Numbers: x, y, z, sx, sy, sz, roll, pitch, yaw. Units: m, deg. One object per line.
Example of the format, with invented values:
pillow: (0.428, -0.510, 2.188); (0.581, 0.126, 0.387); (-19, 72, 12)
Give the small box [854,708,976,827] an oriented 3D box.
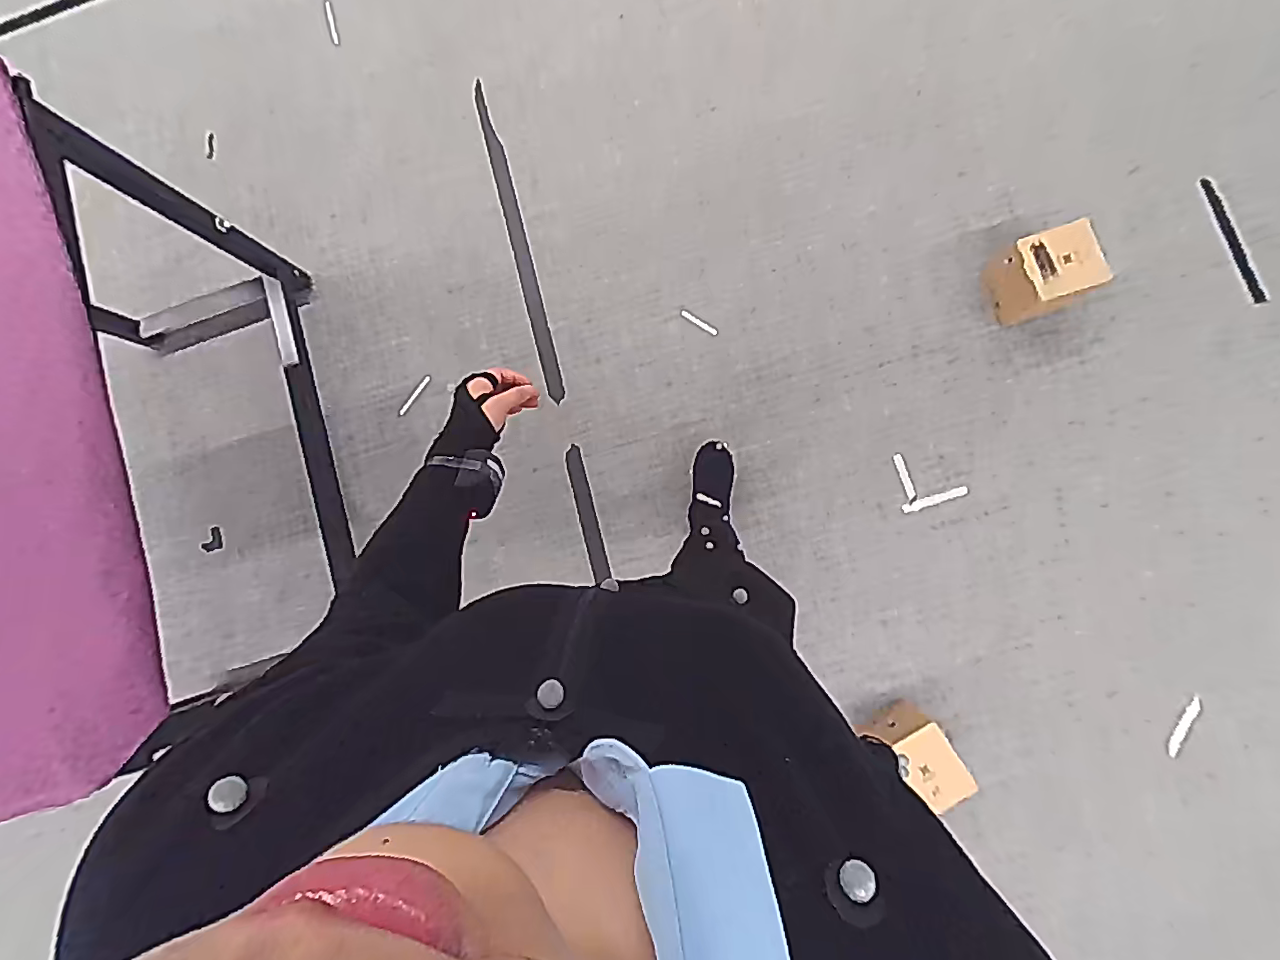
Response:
small box: (0.649, 0.677, 1.303); (0.168, 0.176, 0.179); (-32, 83, 1)
